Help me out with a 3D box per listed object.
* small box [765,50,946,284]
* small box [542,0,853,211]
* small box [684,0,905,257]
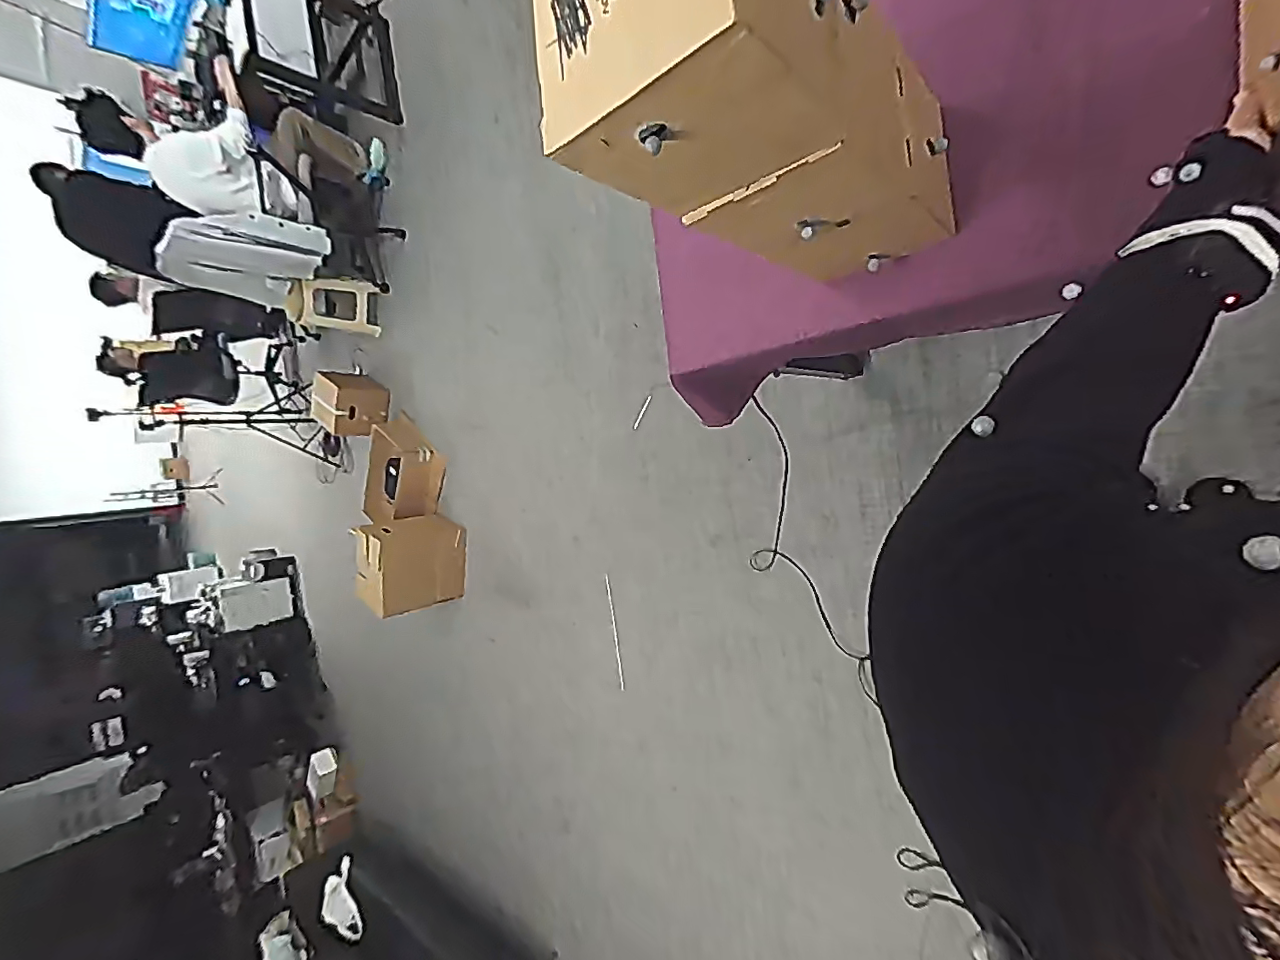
[{"bbox_3d":[0.262,-0.362,0.668,0.179,0.176,0.168,-8,89,42],"label":"small box"},{"bbox_3d":[0.045,-0.338,0.421,0.179,0.176,0.168,-4,93,42],"label":"small box"},{"bbox_3d":[0.151,-0.352,0.546,0.168,0.176,0.179,-6,92,43],"label":"small box"}]
